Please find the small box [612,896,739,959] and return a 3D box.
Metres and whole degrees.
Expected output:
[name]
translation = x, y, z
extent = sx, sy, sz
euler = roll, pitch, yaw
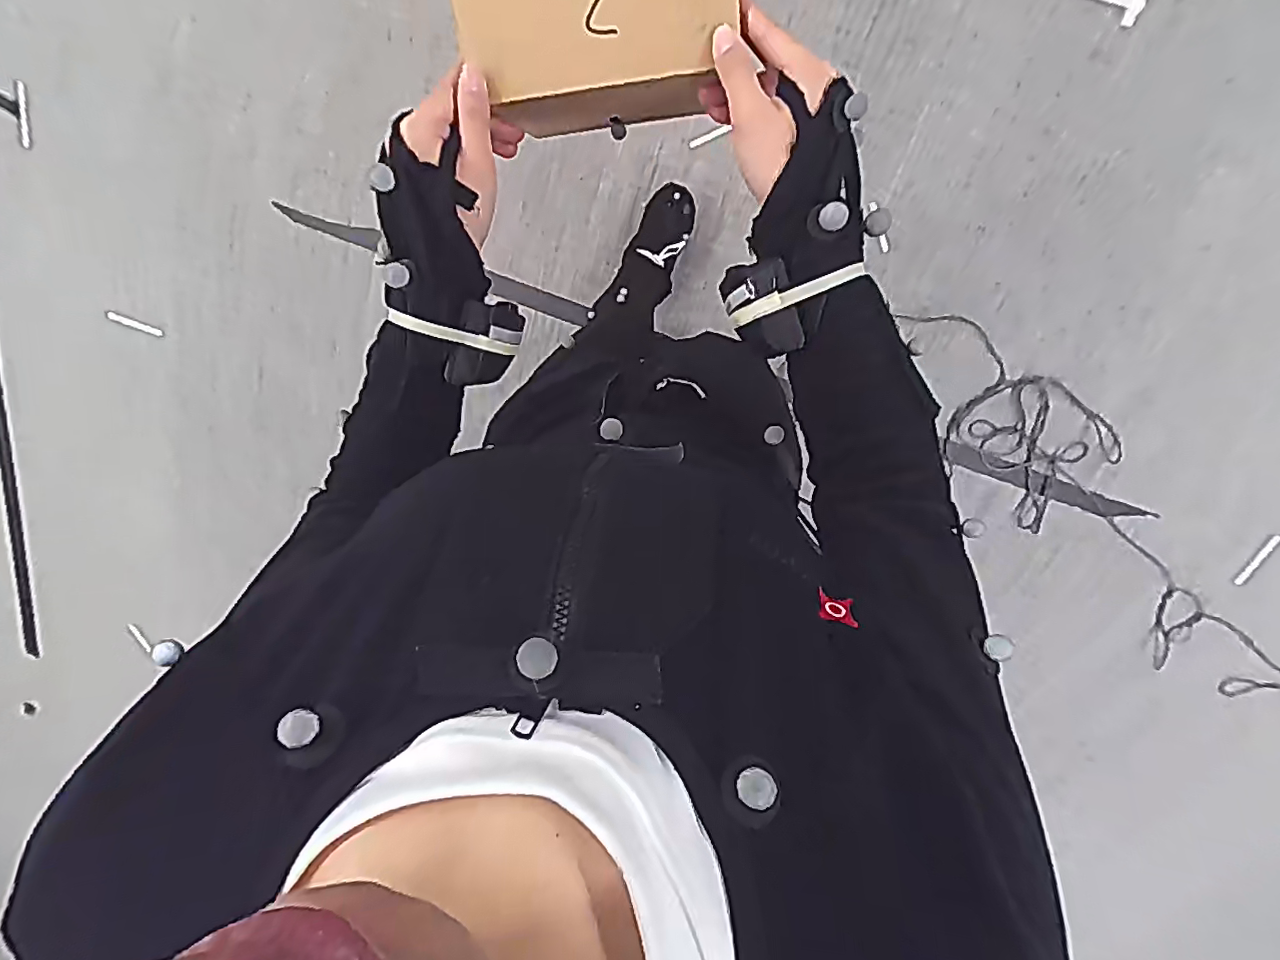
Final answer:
[small box]
translation = 0.044, 0.778, 0.815
extent = 0.179, 0.176, 0.168
euler = 16, 112, 2
